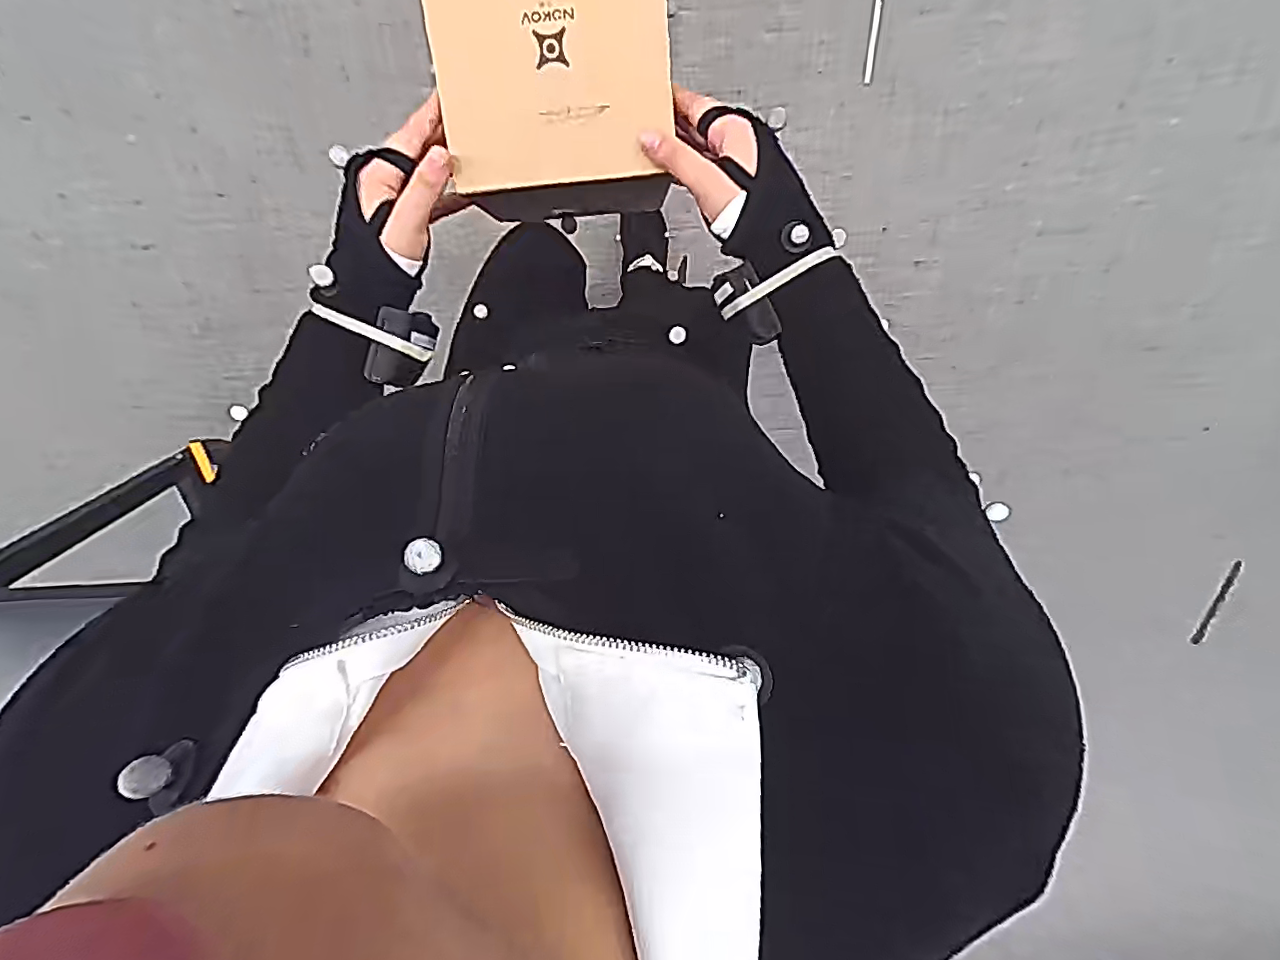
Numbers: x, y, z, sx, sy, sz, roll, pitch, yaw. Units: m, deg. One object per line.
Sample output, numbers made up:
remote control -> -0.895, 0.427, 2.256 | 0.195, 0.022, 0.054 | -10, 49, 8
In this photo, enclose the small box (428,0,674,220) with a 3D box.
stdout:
small box -> -0.065, -0.329, 0.450 | 0.168, 0.176, 0.179 | -5, 108, -1
